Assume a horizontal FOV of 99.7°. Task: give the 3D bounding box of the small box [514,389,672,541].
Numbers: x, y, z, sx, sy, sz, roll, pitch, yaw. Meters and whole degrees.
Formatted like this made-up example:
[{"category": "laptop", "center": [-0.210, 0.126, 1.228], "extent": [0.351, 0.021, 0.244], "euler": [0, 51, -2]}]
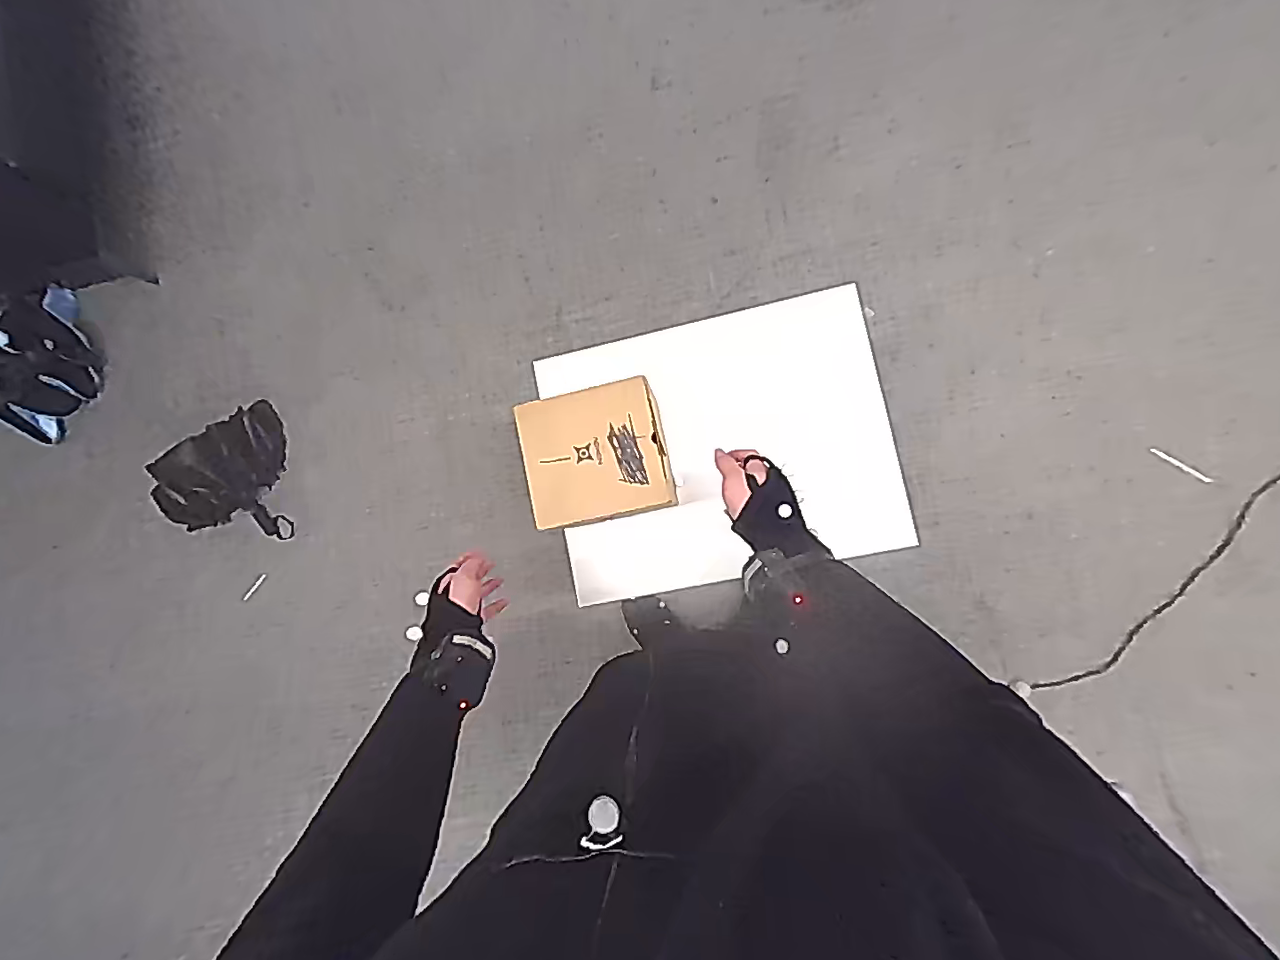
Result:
[{"category": "small box", "center": [-0.054, -0.014, 0.757], "extent": [0.179, 0.176, 0.168], "euler": [-12, 84, 7]}]
